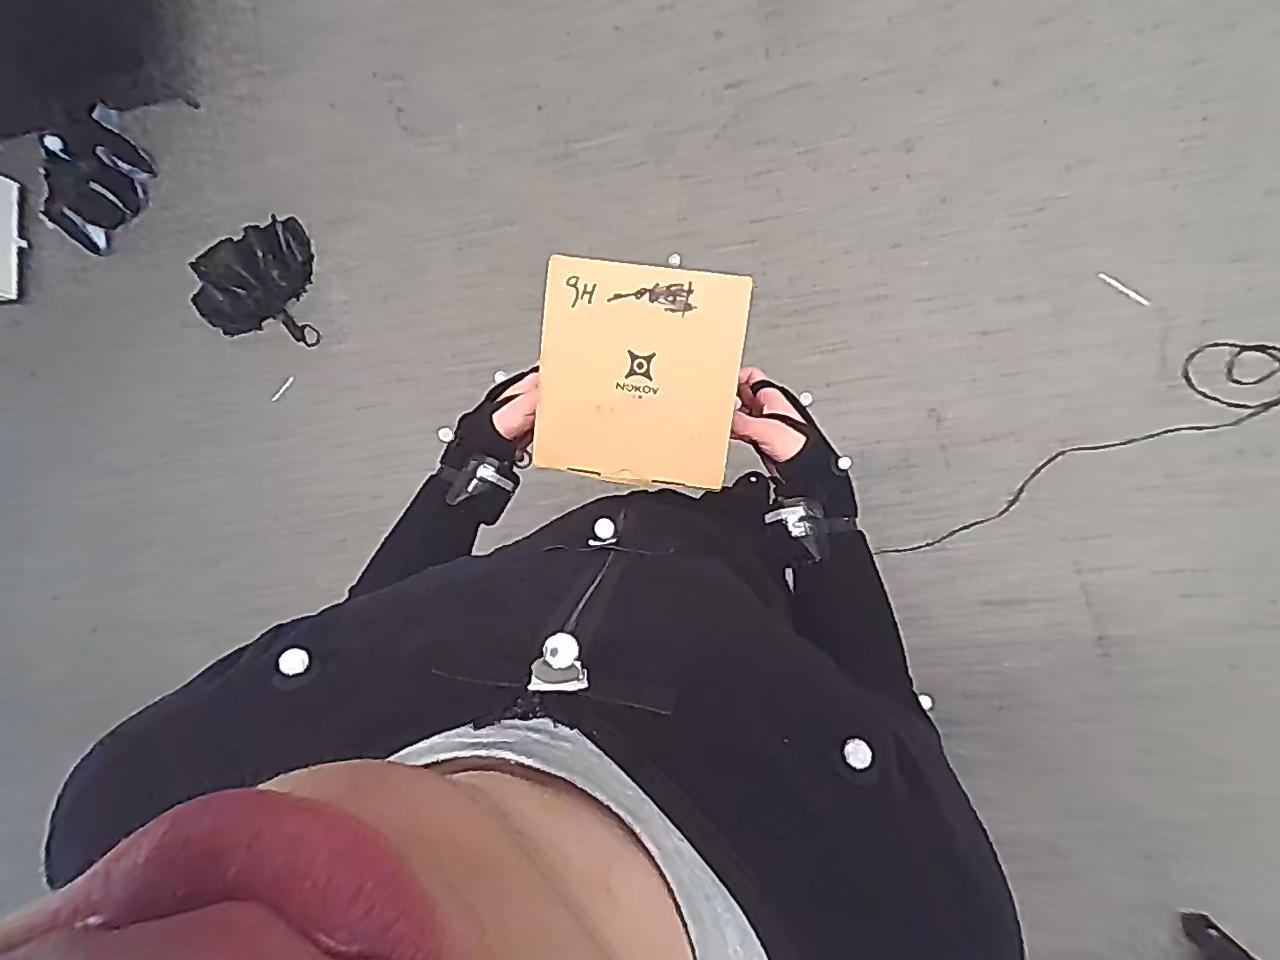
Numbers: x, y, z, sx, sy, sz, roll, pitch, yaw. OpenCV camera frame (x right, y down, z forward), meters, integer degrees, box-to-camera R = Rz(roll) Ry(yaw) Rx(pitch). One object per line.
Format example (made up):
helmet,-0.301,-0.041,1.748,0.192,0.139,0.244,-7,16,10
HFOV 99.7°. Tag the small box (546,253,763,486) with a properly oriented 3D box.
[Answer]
small box,0.013,-0.105,0.526,0.168,0.176,0.179,7,102,2
